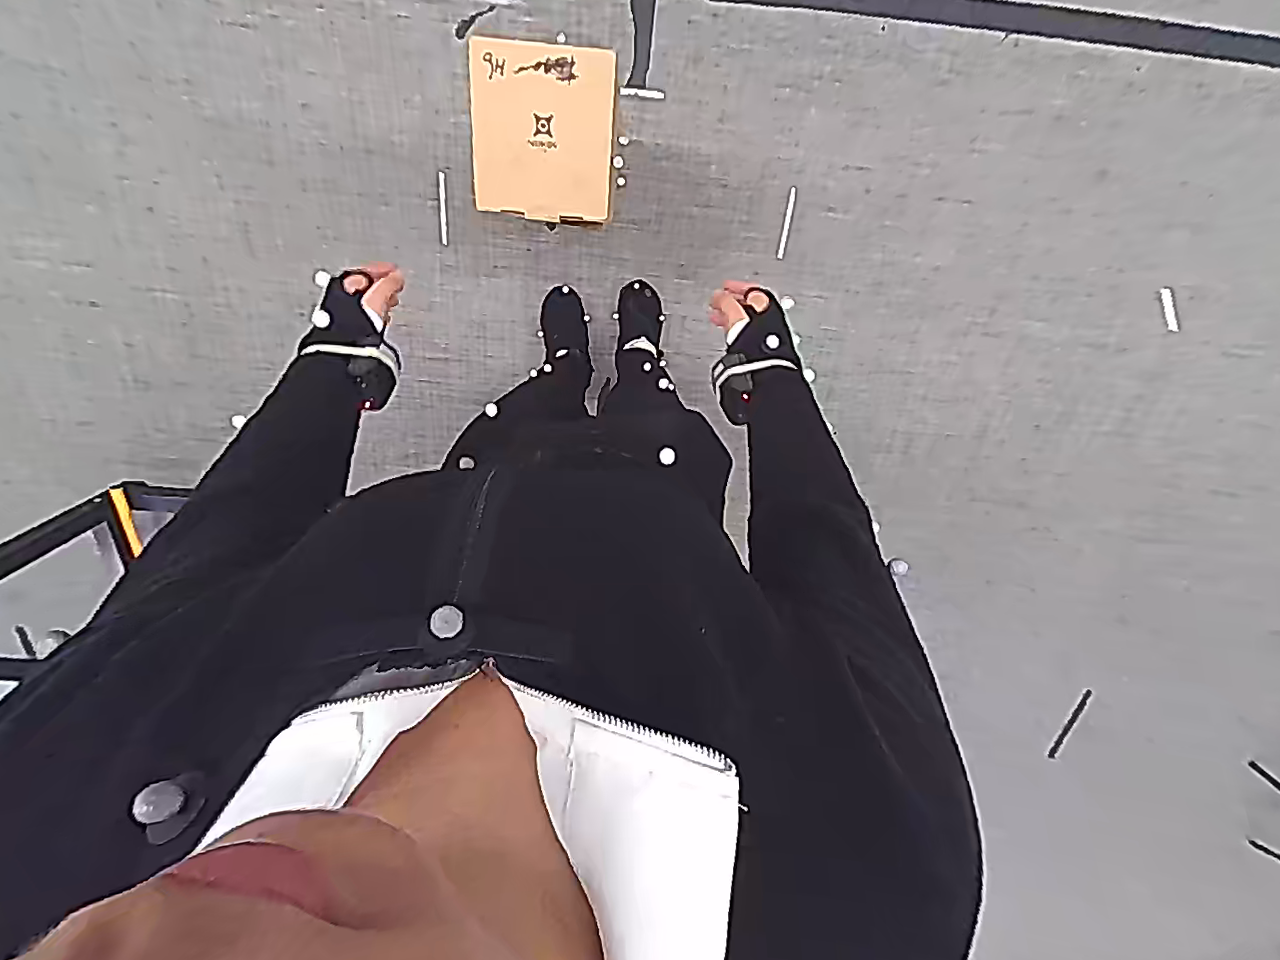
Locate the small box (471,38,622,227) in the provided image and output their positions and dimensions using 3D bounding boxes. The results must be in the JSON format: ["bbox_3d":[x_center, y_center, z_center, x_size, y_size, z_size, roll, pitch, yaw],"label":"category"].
[{"bbox_3d":[-0.112,-0.438,0.705,0.168,0.176,0.179,4,117,-3],"label":"small box"}]
